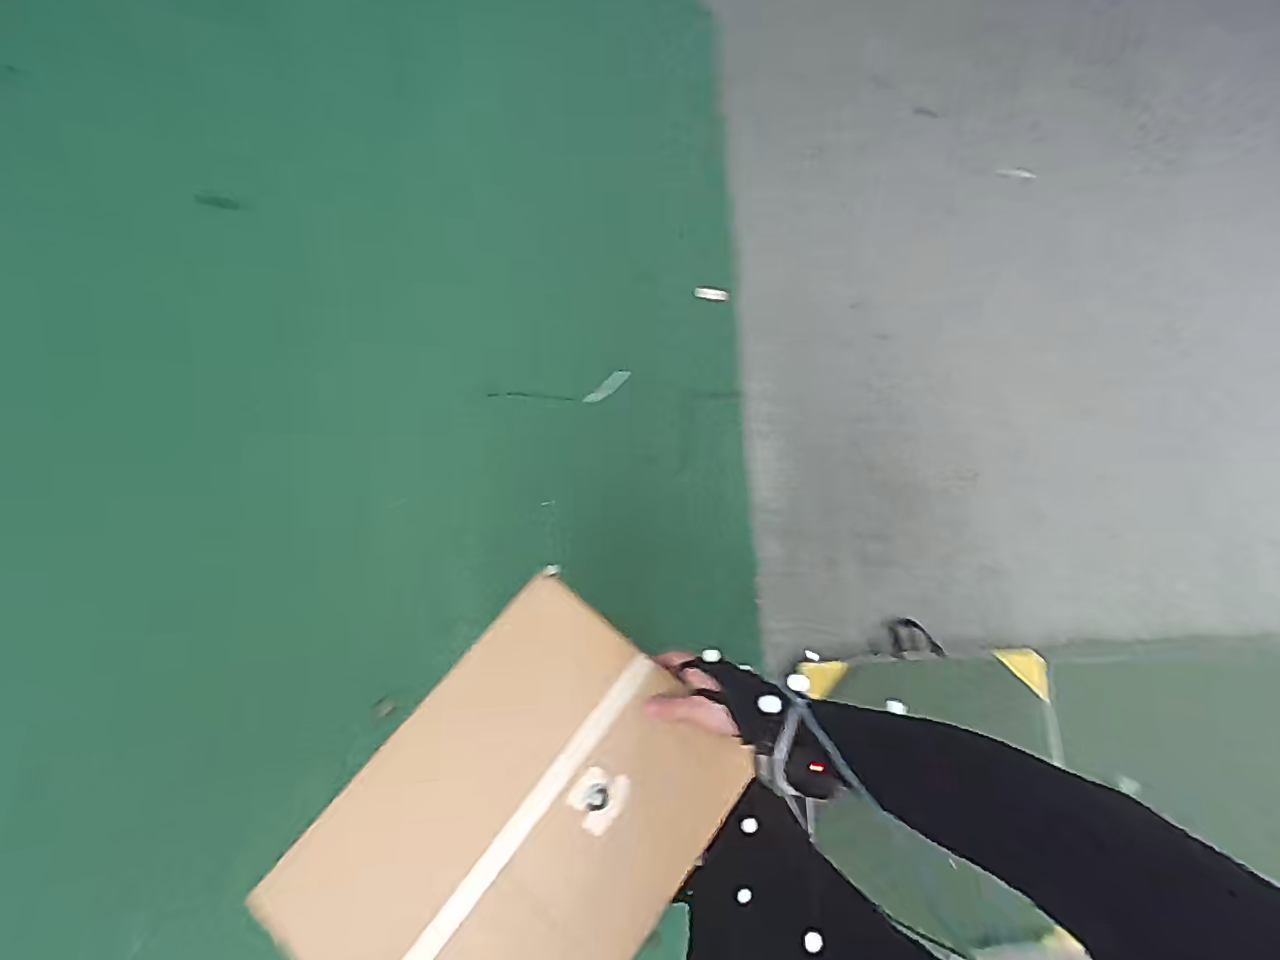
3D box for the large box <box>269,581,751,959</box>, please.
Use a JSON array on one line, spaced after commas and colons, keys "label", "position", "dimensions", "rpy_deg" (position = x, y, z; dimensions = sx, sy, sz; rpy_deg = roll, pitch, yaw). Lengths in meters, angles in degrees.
[{"label": "large box", "position": [-0.123, 0.404, 0.679], "dimensions": [0.320, 0.320, 0.408], "rpy_deg": [36, 72, 11]}]
